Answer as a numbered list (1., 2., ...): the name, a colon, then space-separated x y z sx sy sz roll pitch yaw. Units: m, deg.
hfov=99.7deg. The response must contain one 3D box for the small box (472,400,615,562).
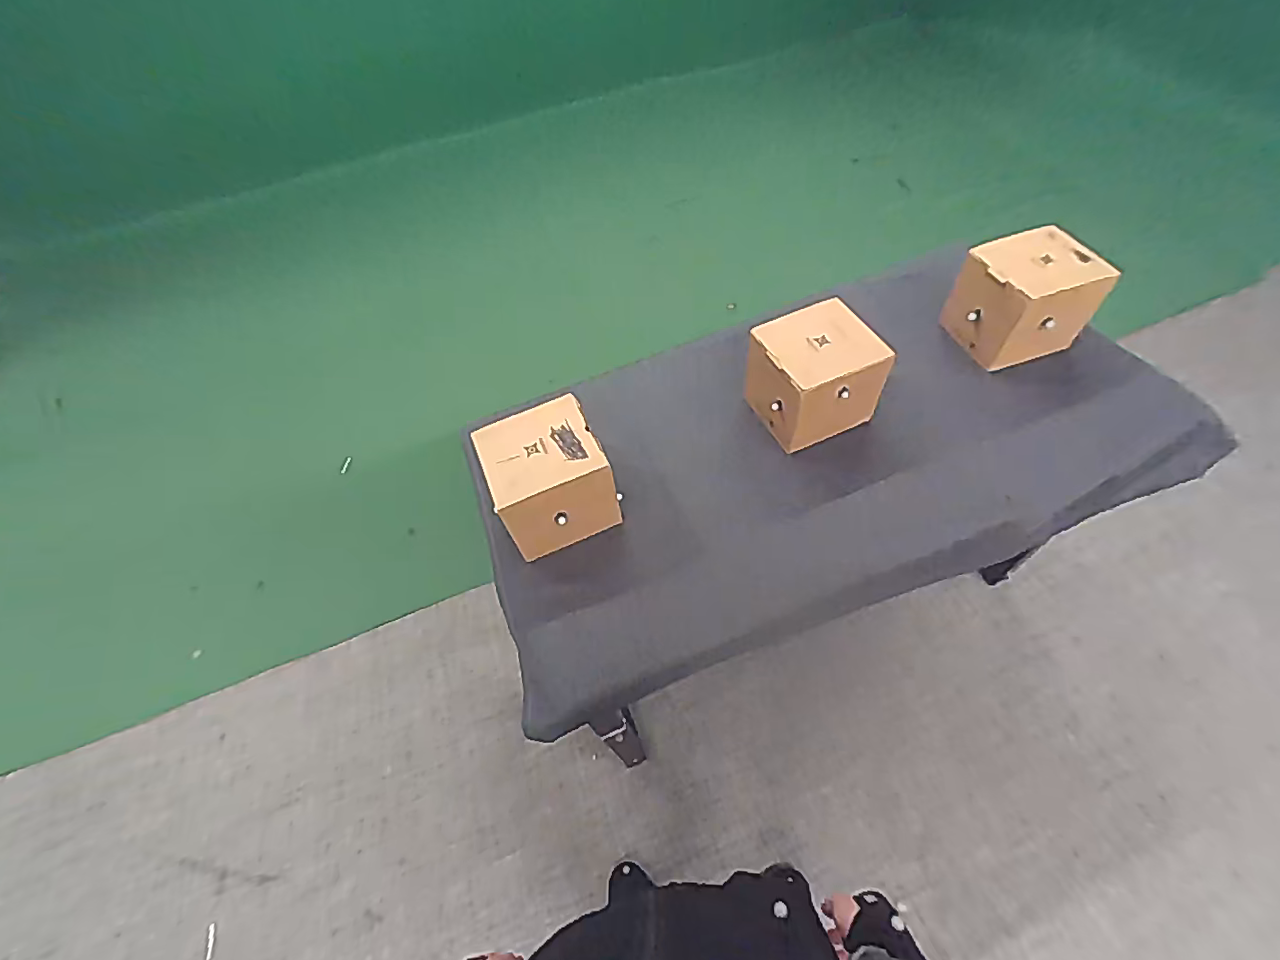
1. small box: -0.149 0.006 0.886 0.179 0.176 0.168 -23 56 -9

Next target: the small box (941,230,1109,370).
1. small box: 0.702 -0.333 1.020 0.179 0.176 0.168 -18 56 -5

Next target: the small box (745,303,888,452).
1. small box: 0.299 -0.177 0.964 0.179 0.176 0.168 -22 57 -10
